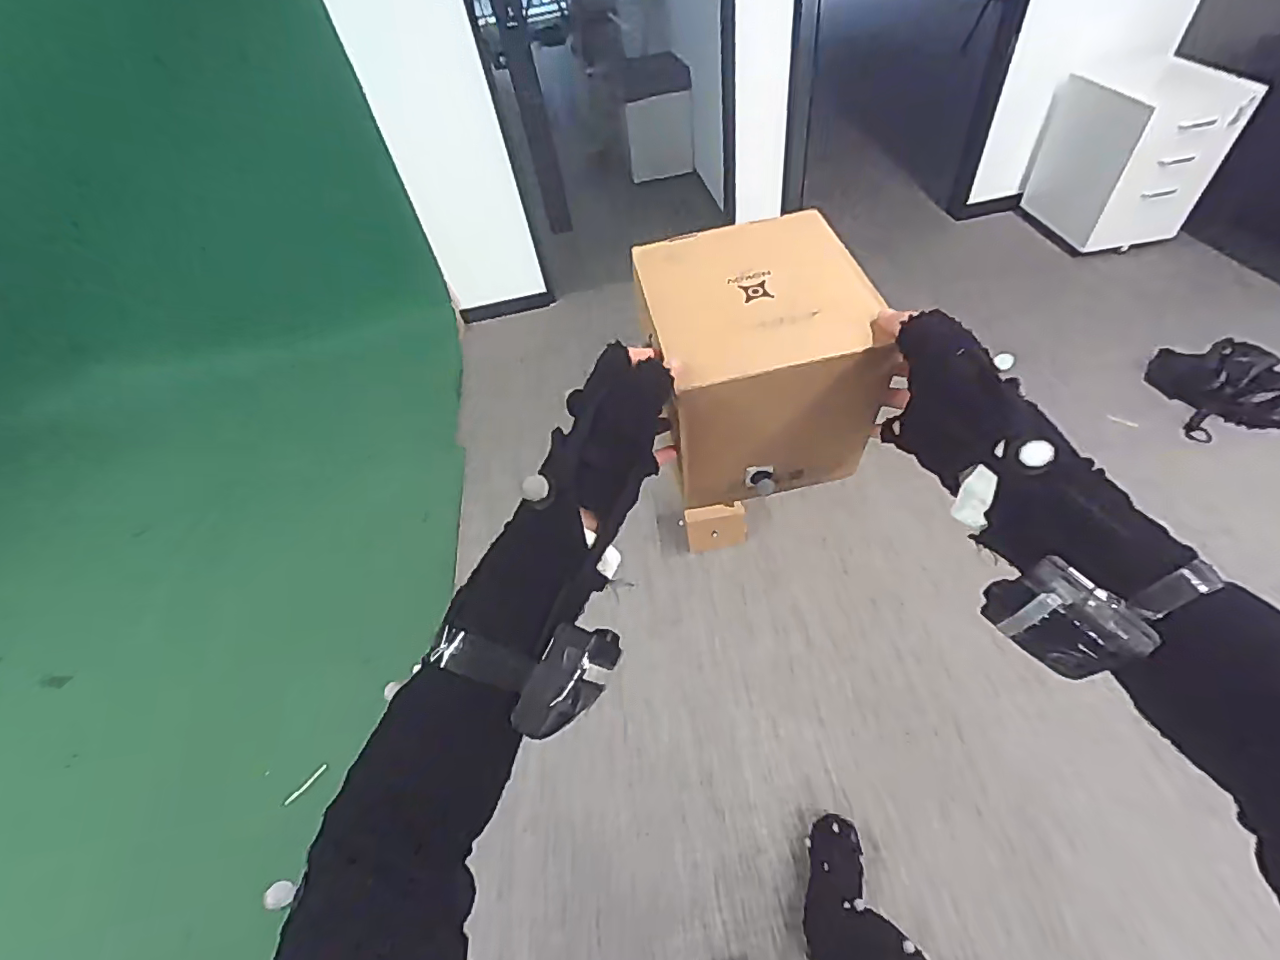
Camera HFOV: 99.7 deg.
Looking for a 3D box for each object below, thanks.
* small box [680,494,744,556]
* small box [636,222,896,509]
[{"bbox_3d":[0.225,0.120,1.706,0.179,0.176,0.168,-10,48,2],"label":"small box"},{"bbox_3d":[0.096,-0.100,0.495,0.168,0.176,0.179,-12,55,-1],"label":"small box"}]
